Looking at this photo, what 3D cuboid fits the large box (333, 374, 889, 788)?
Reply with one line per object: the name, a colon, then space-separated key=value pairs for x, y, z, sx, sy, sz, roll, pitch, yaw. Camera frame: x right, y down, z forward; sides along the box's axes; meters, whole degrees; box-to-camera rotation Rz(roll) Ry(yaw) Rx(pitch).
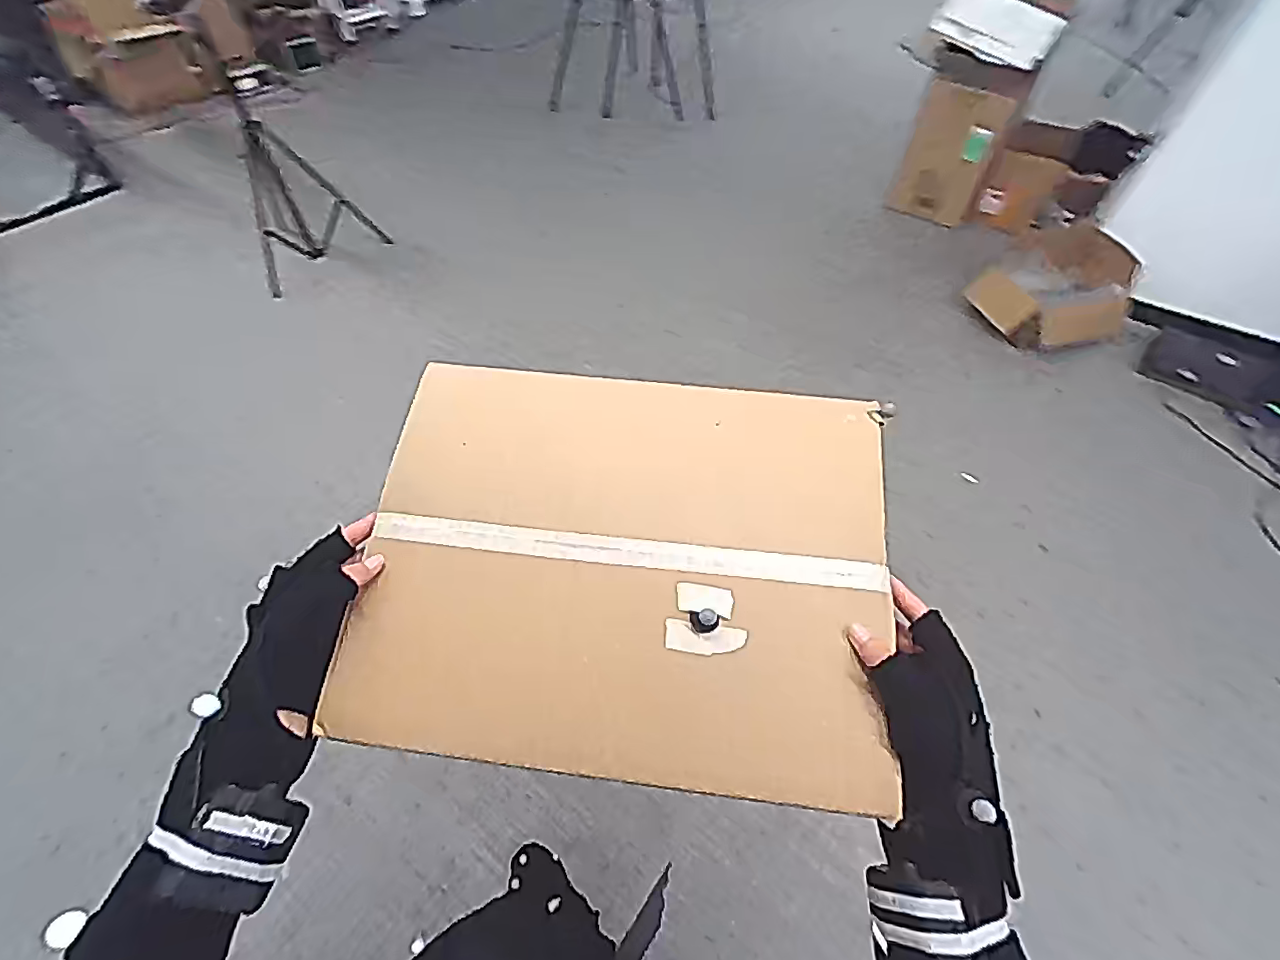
large box: x=-0.012 y=0.114 z=0.572 sx=0.408 sy=0.320 sz=0.320 roll=5 pitch=68 yaw=3
